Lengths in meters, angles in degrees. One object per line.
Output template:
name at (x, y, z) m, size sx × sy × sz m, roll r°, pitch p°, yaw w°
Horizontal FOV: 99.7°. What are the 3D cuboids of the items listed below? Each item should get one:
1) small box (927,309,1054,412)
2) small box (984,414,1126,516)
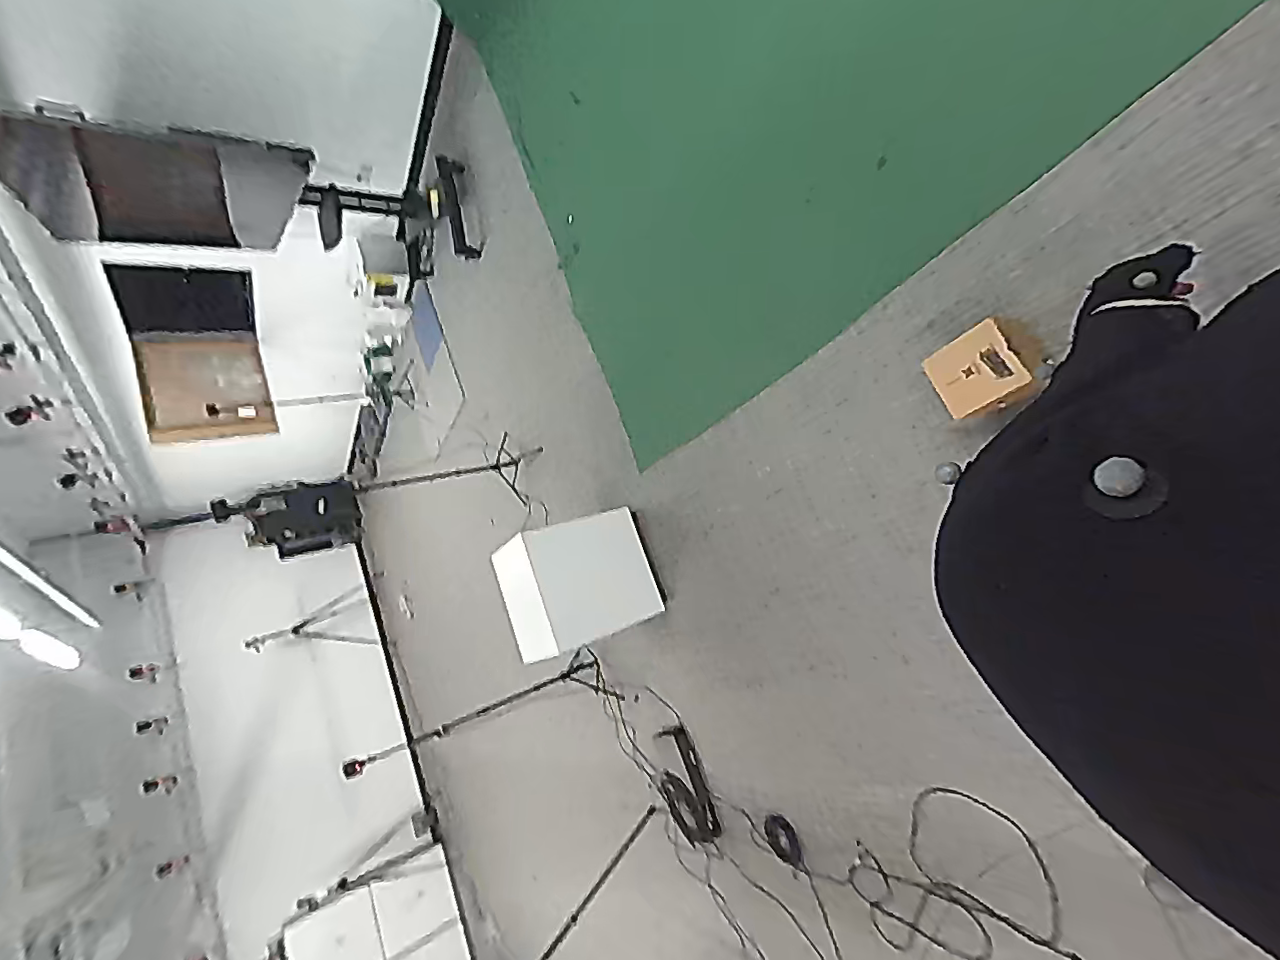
small box at (0.821, -0.277, 1.260) m, size 0.179 × 0.176 × 0.168 m, roll -41°, pitch 66°, yaw 50°
small box at (0.918, -0.034, 1.198) m, size 0.179 × 0.176 × 0.168 m, roll -36°, pitch 70°, yaw 50°
